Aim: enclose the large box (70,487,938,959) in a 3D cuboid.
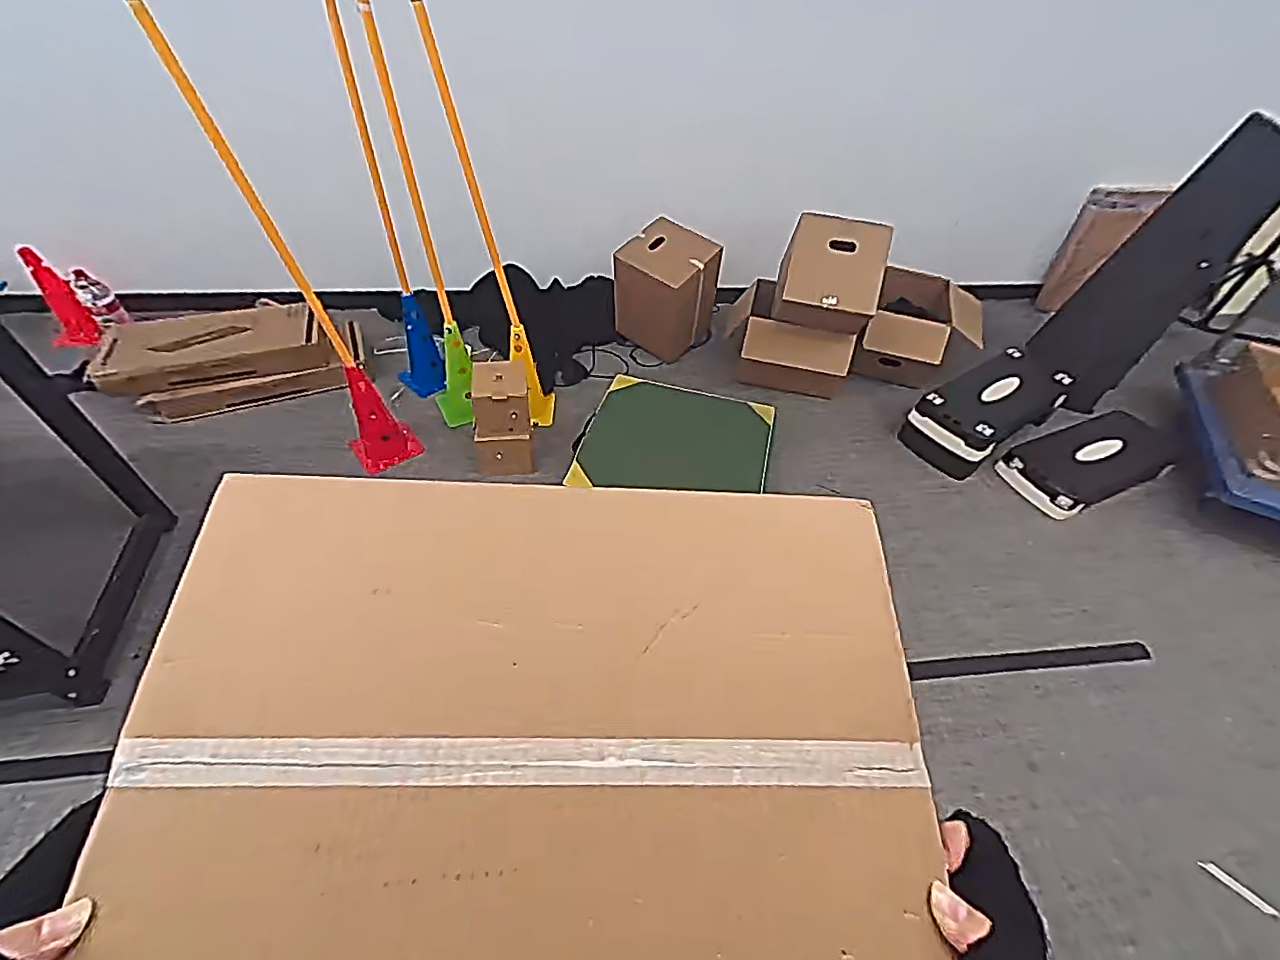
[{"bbox_3d":[-0.065,0.214,0.420,0.408,0.320,0.320,2,64,-4],"label":"large box"}]
